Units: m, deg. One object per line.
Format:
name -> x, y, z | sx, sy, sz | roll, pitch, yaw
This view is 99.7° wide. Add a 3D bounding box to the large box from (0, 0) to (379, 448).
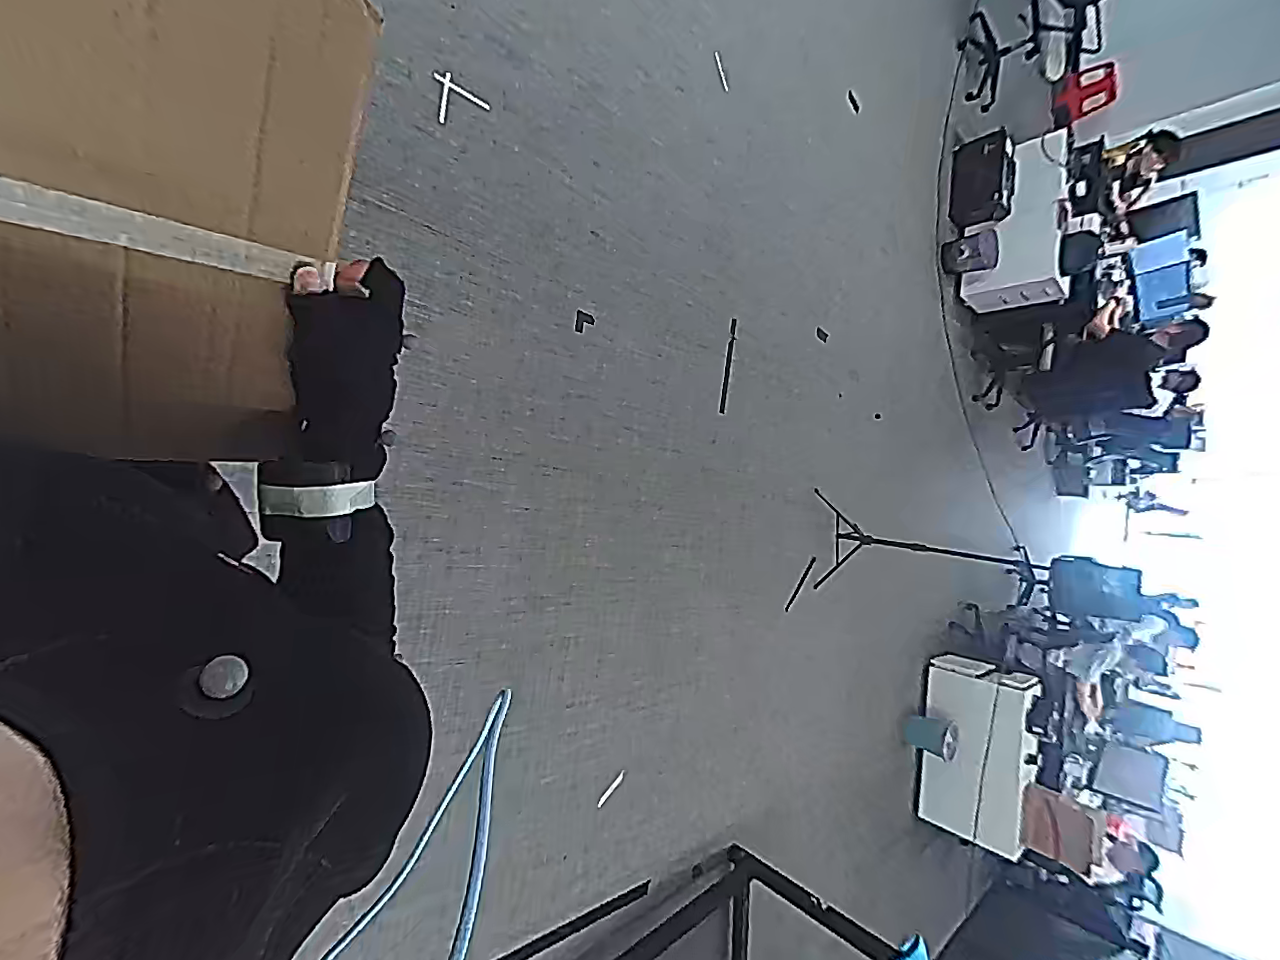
large box -> -0.435, -0.234, 0.313 | 0.408, 0.320, 0.320 | 0, 130, -45
